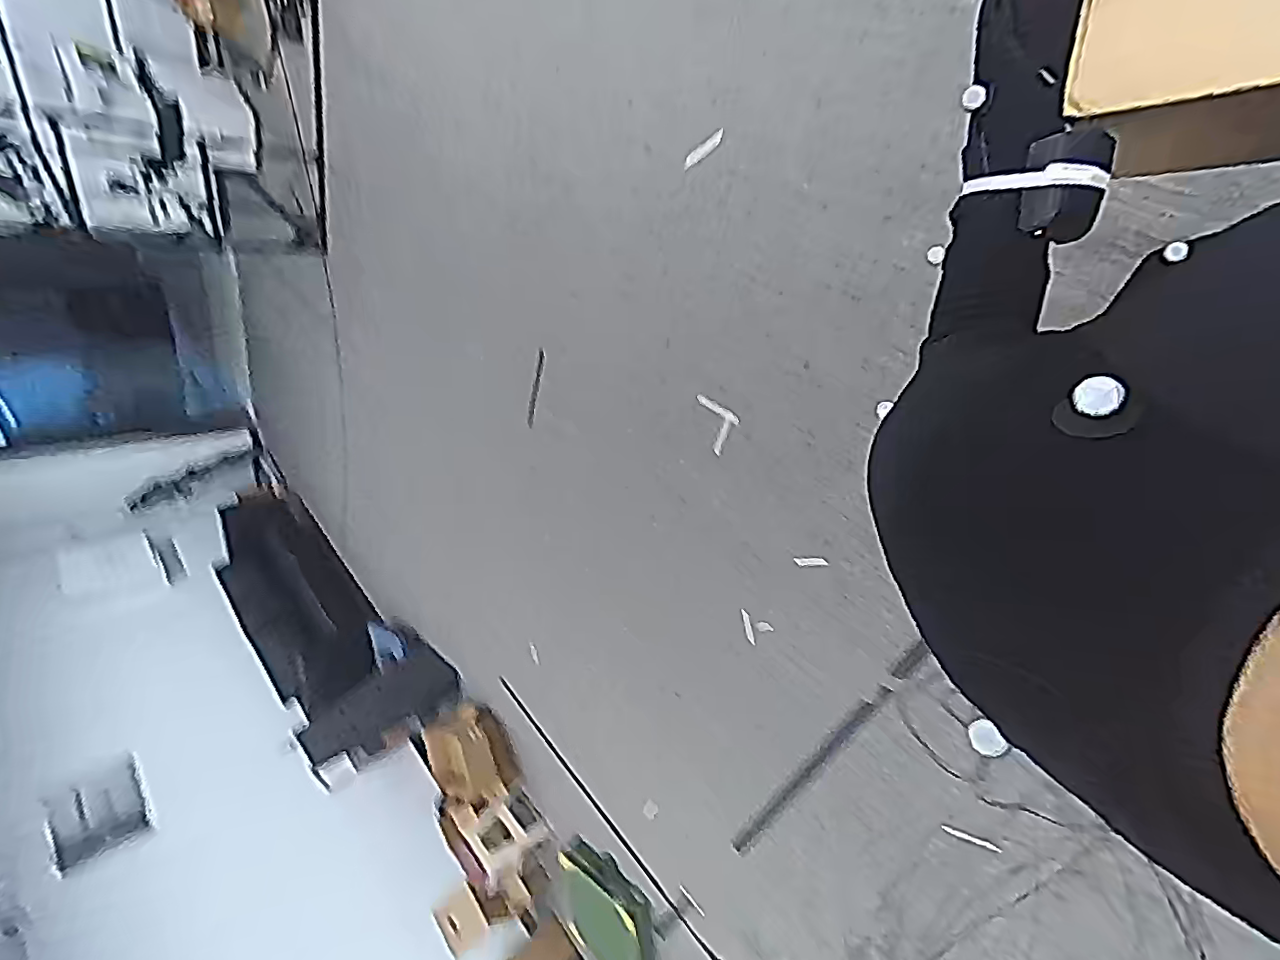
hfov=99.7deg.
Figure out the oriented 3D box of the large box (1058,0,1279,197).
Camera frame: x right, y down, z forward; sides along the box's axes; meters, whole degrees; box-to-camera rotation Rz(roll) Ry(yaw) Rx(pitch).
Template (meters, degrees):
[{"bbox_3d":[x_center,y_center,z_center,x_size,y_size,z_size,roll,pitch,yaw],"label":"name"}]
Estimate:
[{"bbox_3d":[0.540,-0.388,0.325,0.408,0.320,0.320,14,114,40],"label":"large box"}]
